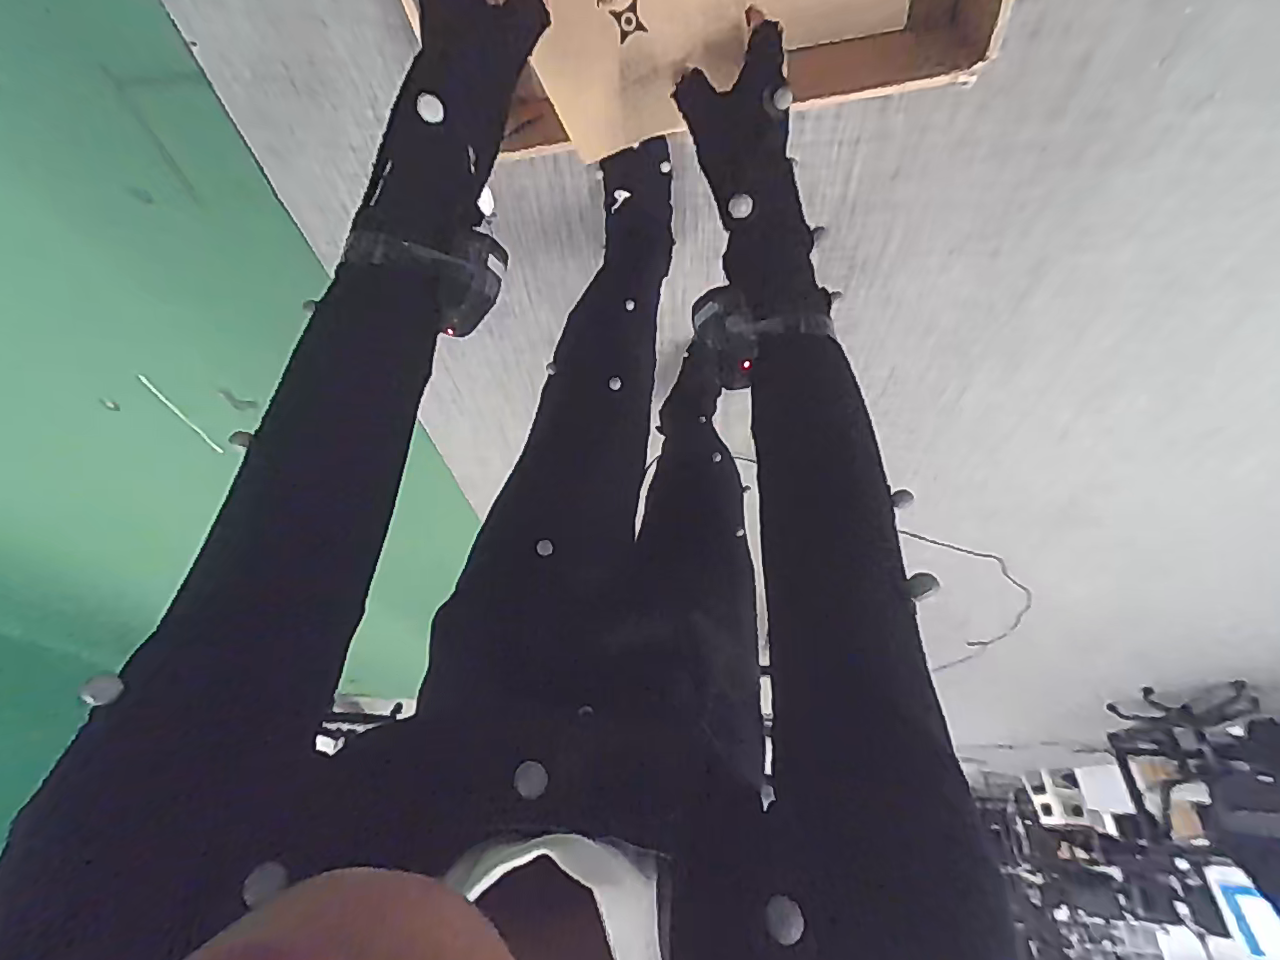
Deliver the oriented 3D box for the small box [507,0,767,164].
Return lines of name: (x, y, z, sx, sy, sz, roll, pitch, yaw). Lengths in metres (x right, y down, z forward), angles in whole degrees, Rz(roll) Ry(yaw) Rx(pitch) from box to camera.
small box: (-0.002, -0.411, 0.436, 0.168, 0.176, 0.179, -10, 150, 22)
